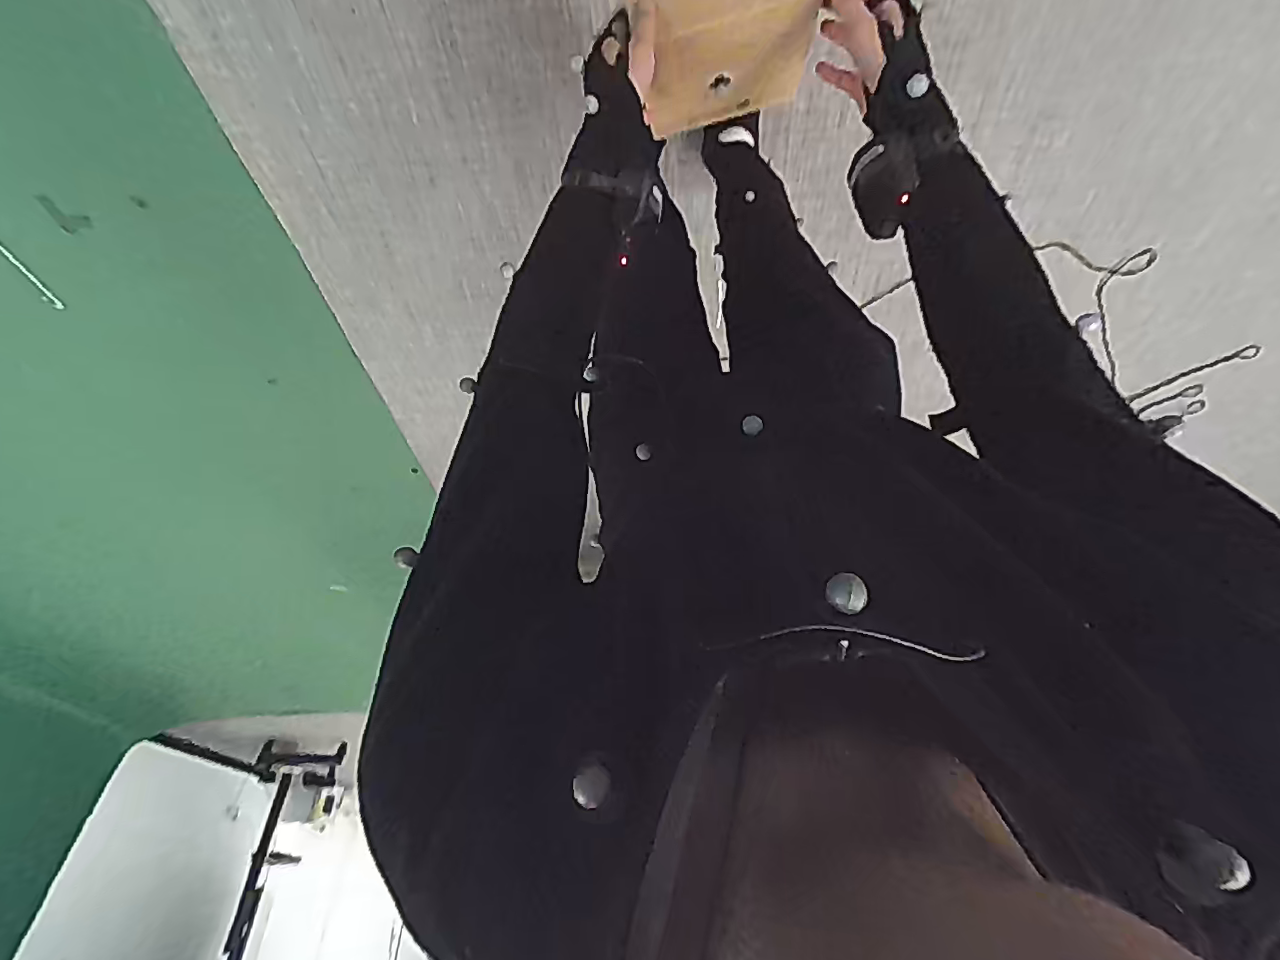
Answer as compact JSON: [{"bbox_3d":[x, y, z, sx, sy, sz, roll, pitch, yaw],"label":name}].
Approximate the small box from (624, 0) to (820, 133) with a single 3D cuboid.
[{"bbox_3d":[0.071,-0.480,0.535,0.168,0.176,0.179,-11,95,10],"label":"small box"}]
